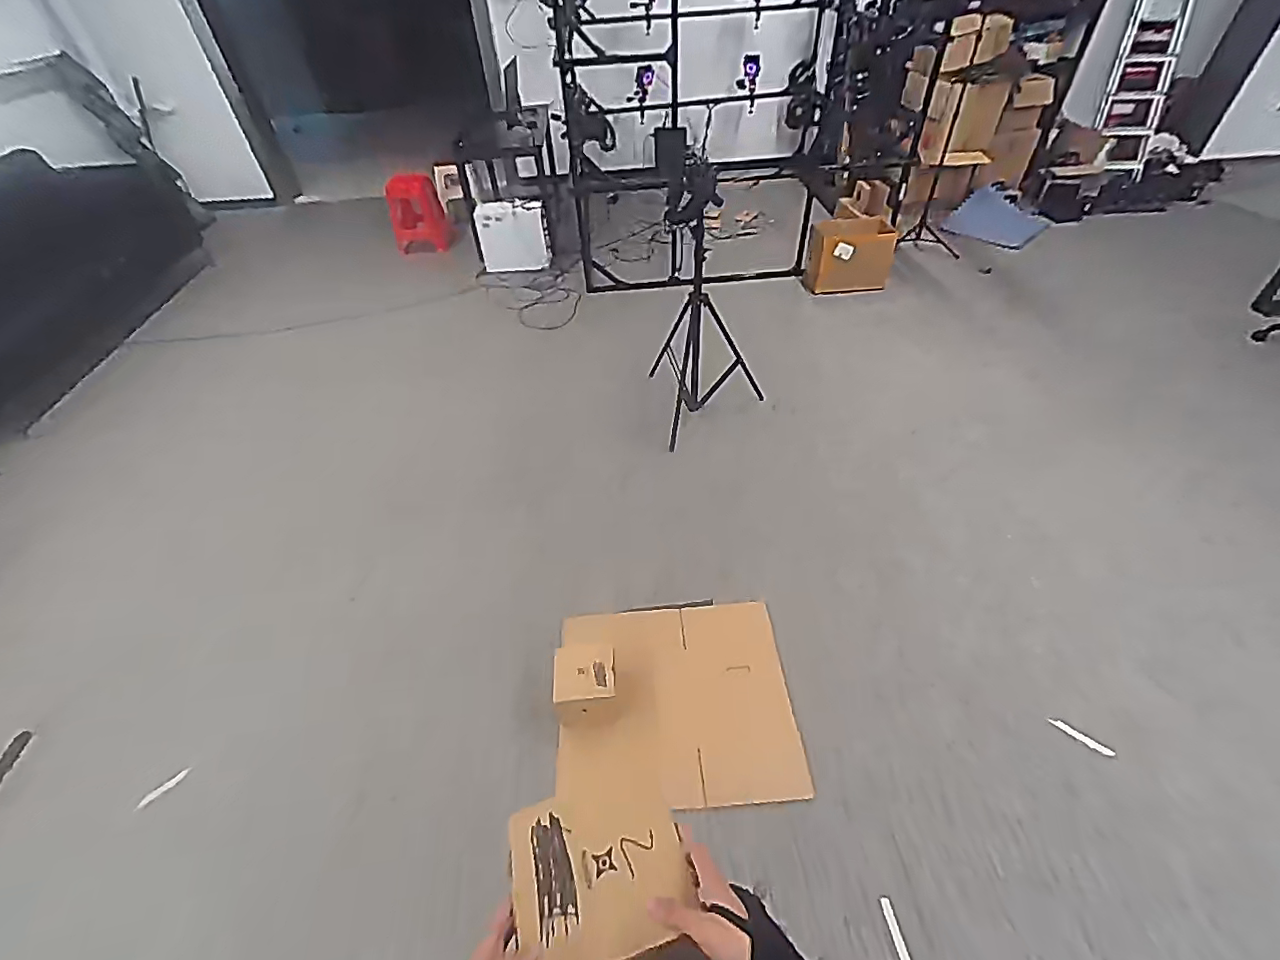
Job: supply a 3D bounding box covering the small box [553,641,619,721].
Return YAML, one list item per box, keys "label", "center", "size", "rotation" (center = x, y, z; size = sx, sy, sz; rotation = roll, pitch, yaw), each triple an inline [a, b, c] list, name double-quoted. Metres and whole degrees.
- label: "small box"
  center: [-0.155, 0.599, 1.603]
  size: [0.179, 0.176, 0.168]
  rotation: [-5, 45, 0]
